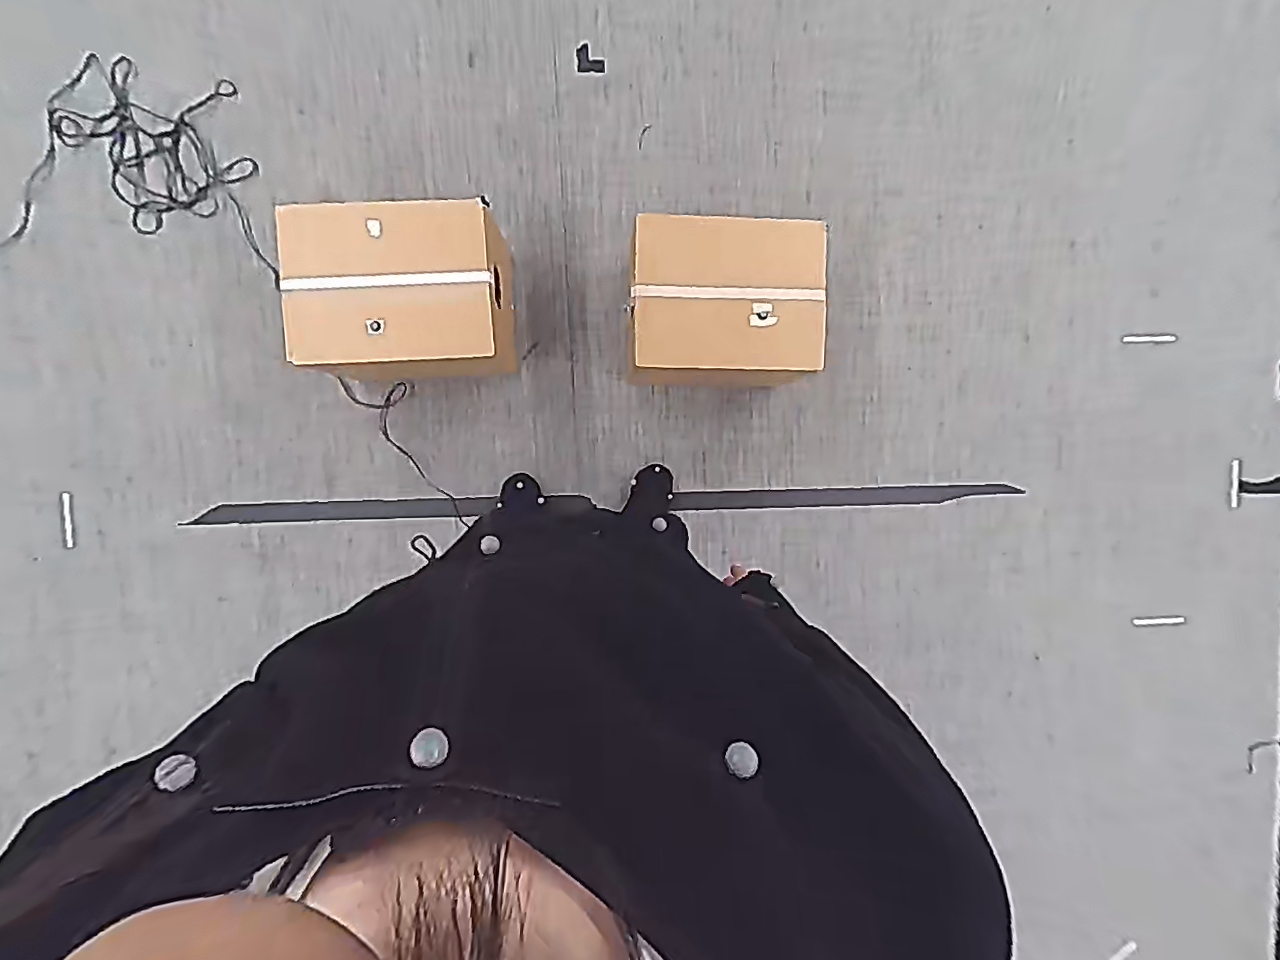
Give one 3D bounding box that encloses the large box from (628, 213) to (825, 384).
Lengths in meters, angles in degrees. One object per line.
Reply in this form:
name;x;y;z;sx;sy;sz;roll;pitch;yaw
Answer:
large box;0.180;-0.403;1.281;0.408;0.320;0.320;1;94;-5
